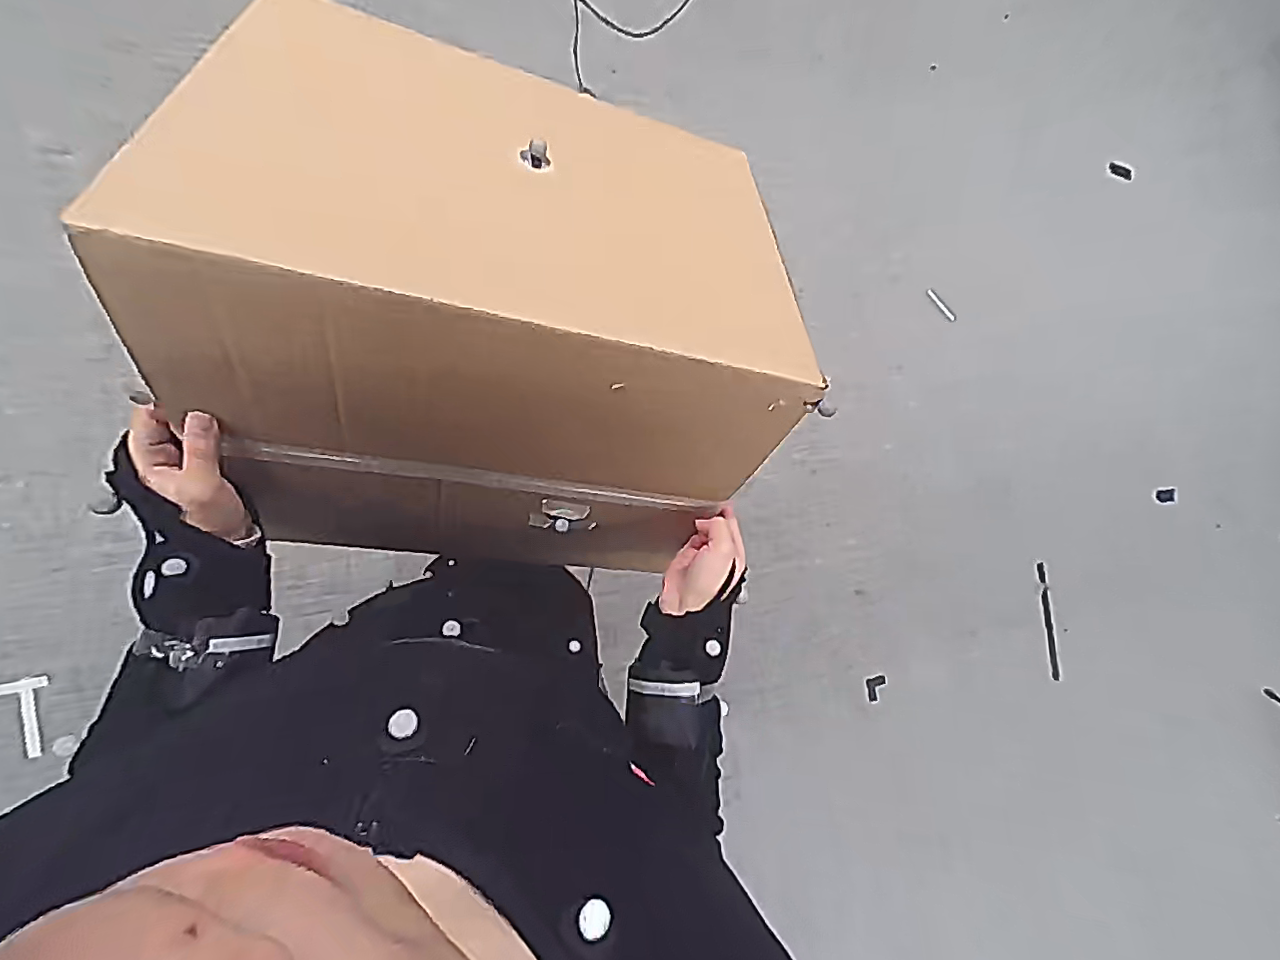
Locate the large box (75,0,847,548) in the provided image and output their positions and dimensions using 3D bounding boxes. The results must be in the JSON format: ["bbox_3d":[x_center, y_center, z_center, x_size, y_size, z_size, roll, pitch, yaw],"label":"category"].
[{"bbox_3d":[-0.113,-0.153,0.483,0.408,0.320,0.320,6,57,-18],"label":"large box"}]
